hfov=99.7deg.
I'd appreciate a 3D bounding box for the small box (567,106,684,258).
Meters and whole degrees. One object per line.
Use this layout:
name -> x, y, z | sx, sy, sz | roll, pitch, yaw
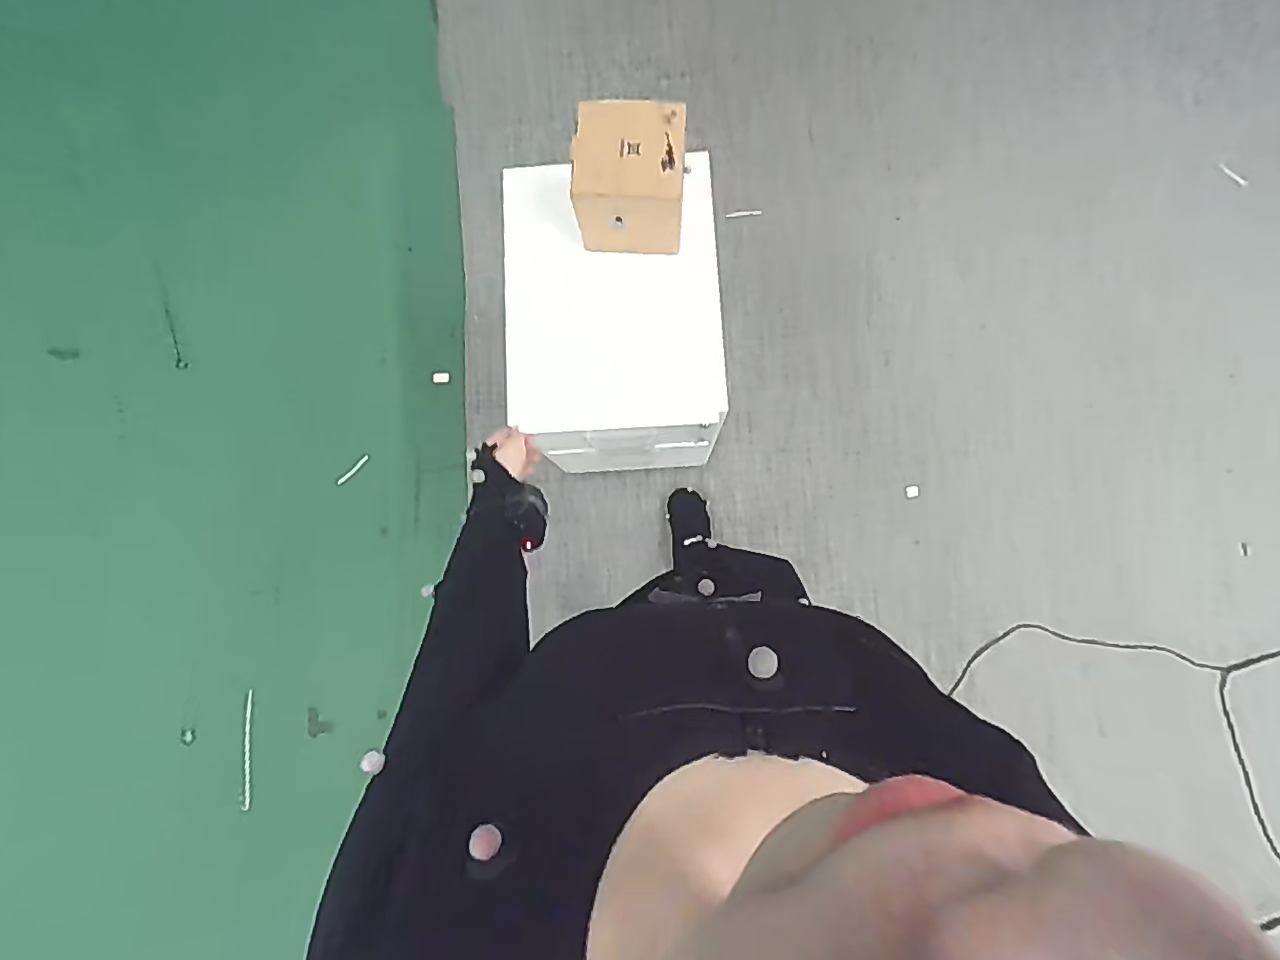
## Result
small box -> -0.018, -0.502, 0.930 | 0.179, 0.176, 0.168 | 4, 82, 4
